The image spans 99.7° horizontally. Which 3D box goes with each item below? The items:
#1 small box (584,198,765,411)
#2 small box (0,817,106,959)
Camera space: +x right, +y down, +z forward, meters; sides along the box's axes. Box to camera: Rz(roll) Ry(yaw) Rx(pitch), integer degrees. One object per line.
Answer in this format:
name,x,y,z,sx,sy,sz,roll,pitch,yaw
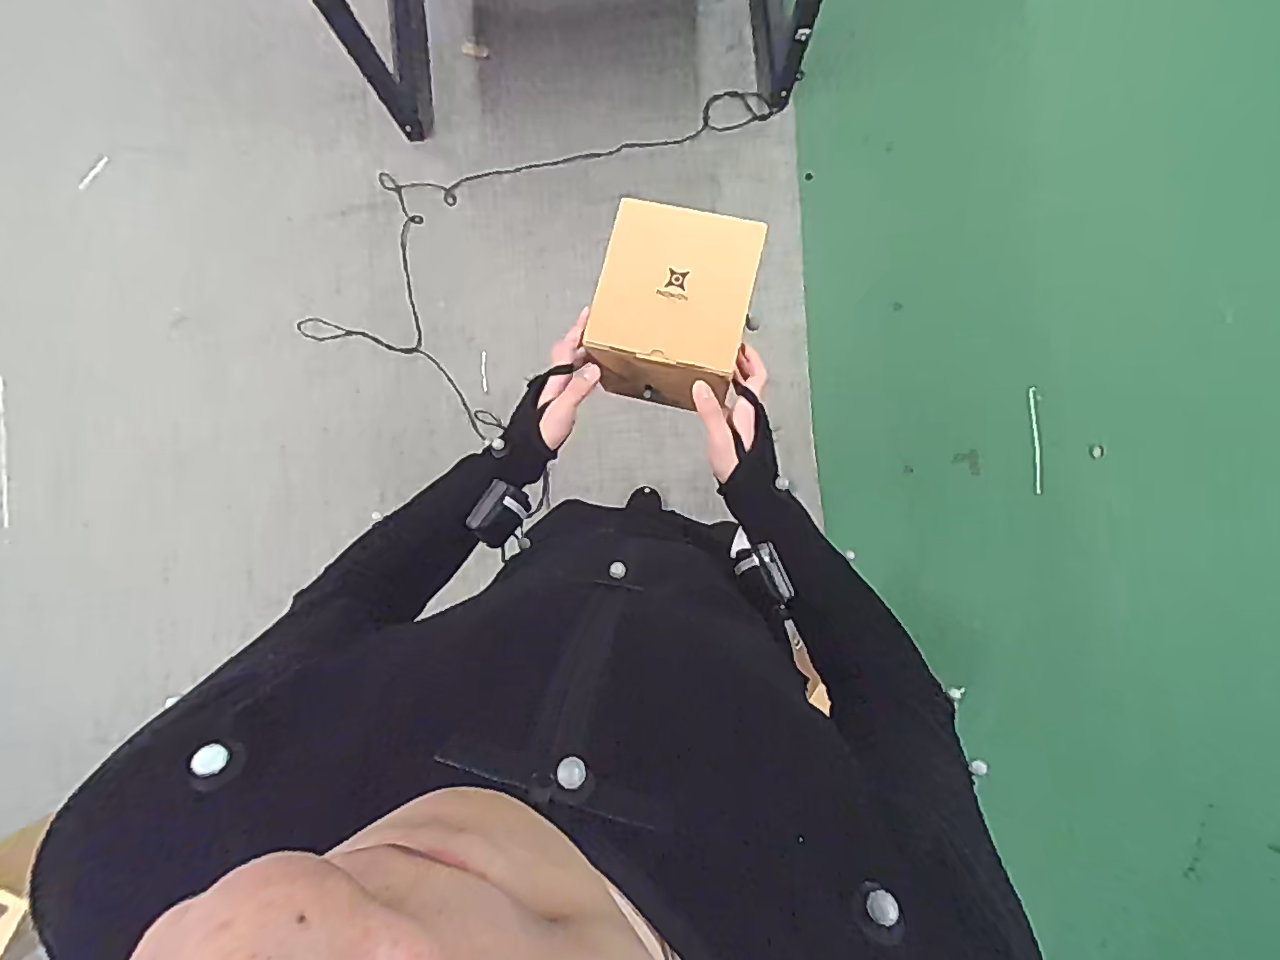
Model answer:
small box,0.041,-0.200,0.659,0.168,0.176,0.179,13,85,5
small box,-1.250,0.830,1.088,0.168,0.176,0.179,27,89,0
